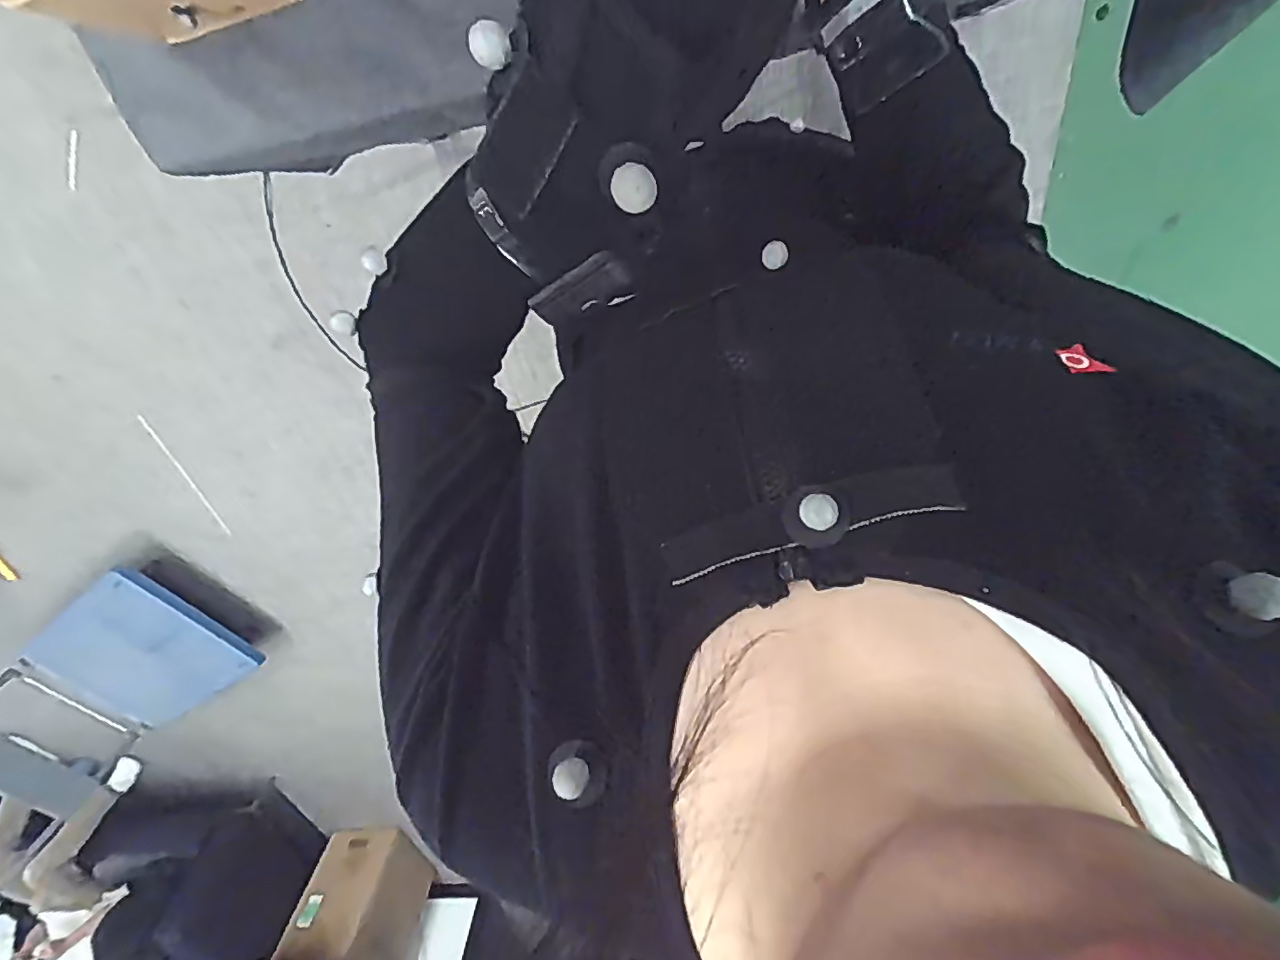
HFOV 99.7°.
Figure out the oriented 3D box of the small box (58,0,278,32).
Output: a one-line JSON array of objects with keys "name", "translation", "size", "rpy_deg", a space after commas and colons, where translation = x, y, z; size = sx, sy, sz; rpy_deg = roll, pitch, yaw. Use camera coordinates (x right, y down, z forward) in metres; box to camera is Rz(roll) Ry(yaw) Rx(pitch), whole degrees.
[{"name": "small box", "translation": [-0.424, -0.493, 0.423], "size": [0.168, 0.176, 0.179], "rpy_deg": [-9, 122, 10]}]
